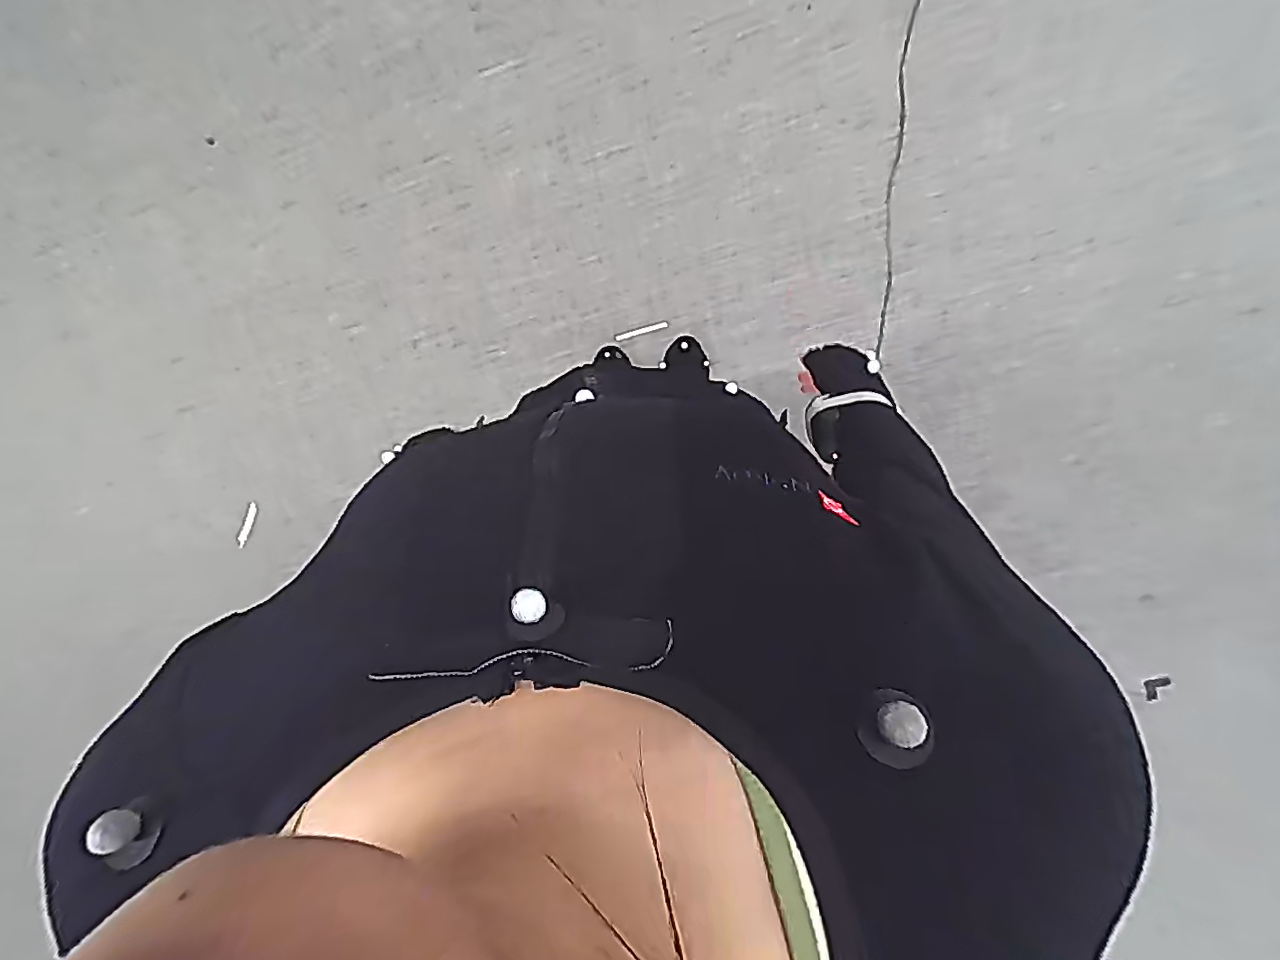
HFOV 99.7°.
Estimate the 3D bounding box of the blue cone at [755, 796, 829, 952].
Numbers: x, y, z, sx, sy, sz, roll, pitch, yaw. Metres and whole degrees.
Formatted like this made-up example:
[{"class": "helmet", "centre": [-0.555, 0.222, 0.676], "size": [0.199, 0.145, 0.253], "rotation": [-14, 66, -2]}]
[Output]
[{"class": "blue cone", "centre": [0.463, 1.127, 1.542], "size": [0.193, 0.380, 0.192], "rotation": [-31, 99, 11]}]
